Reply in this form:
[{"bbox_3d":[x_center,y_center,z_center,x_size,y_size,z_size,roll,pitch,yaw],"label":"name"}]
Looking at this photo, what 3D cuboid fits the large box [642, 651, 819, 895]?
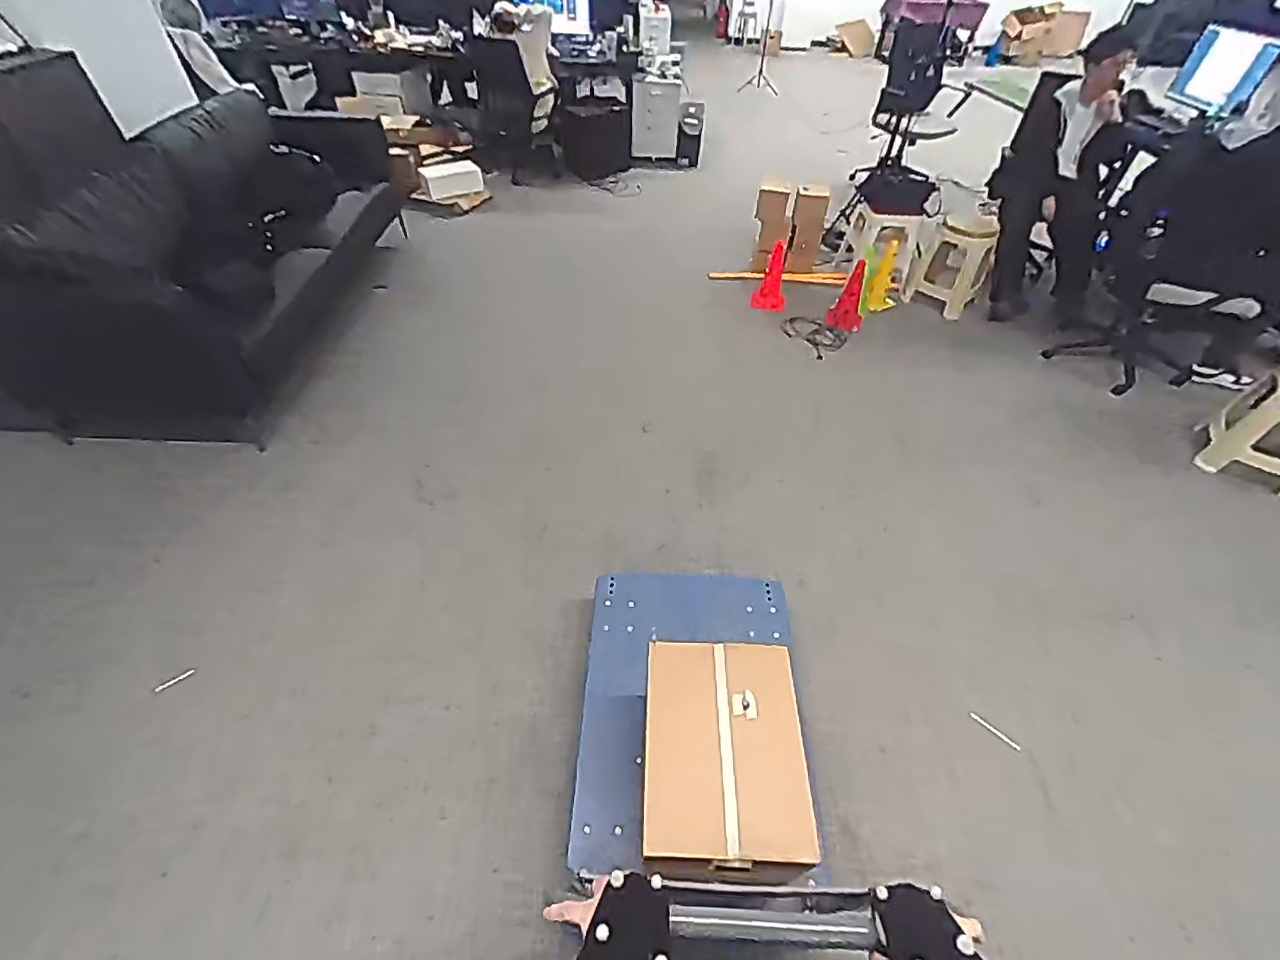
[{"bbox_3d":[0.161,0.635,1.180,0.320,0.320,0.408,2,45,0],"label":"large box"}]
